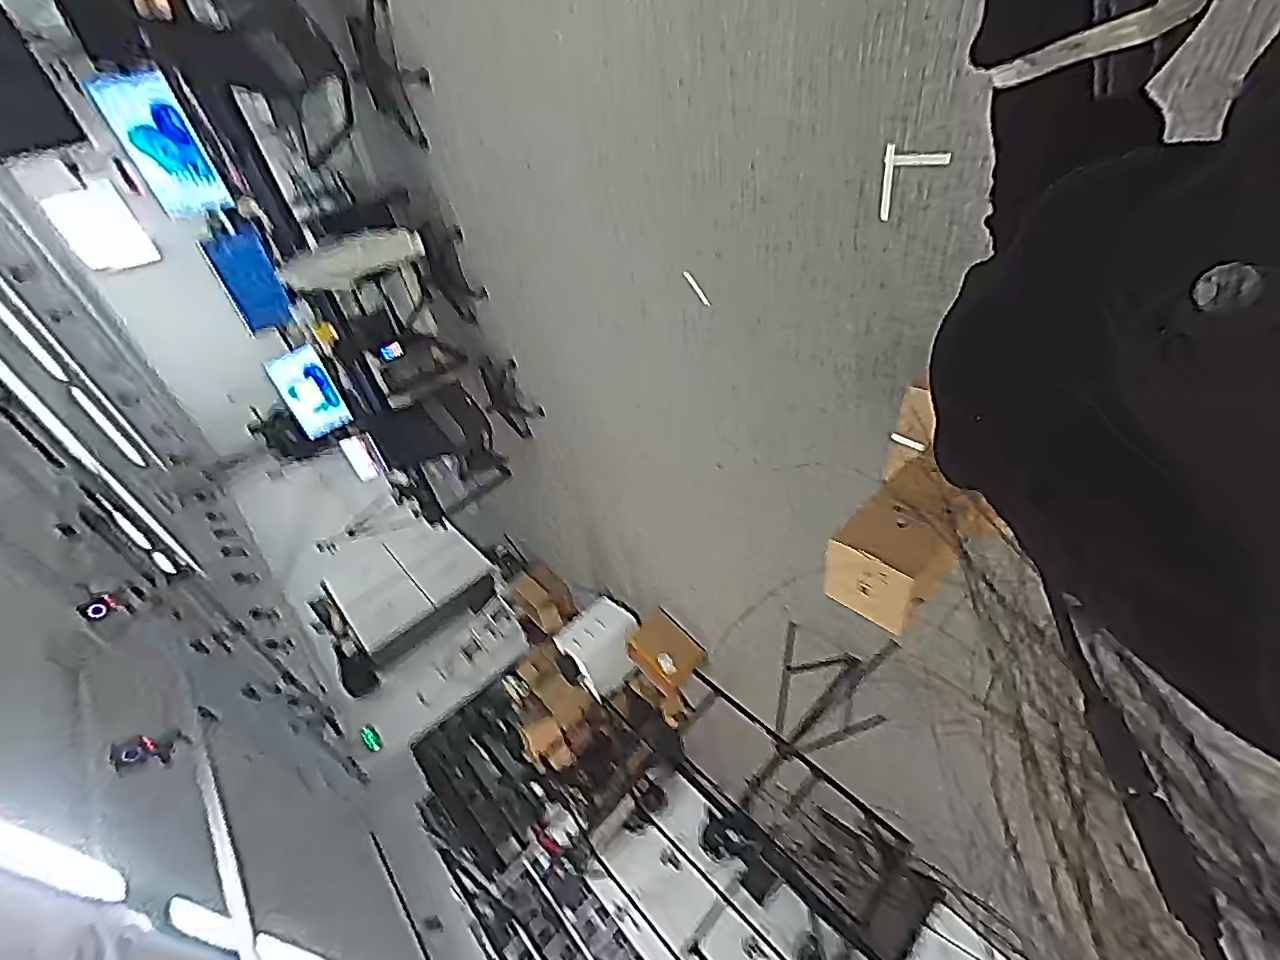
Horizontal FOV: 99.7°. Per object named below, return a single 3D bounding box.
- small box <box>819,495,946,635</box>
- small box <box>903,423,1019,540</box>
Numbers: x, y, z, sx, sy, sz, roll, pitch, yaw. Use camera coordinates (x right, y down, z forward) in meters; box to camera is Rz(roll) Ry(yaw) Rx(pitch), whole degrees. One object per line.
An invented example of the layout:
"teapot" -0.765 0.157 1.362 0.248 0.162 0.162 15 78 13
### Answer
"small box" 0.479 0.163 1.076 0.168 0.176 0.179 29 143 39
"small box" 0.723 -0.004 1.222 0.168 0.176 0.179 29 144 41
